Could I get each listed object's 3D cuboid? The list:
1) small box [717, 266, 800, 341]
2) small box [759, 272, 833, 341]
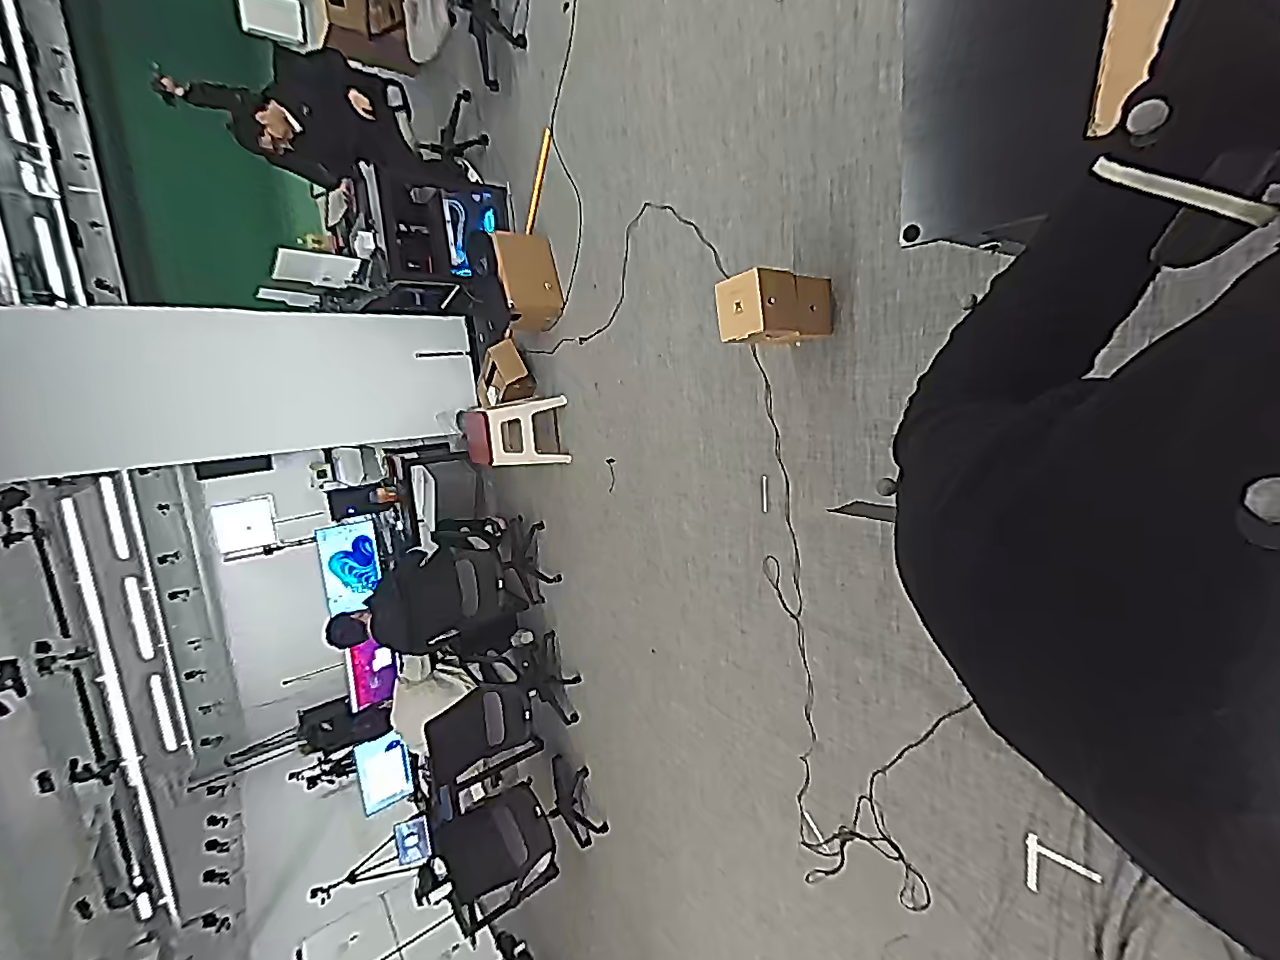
[{"bbox_3d":[0.351,-0.513,1.588,0.168,0.176,0.179,-1,98,53],"label":"small box"},{"bbox_3d":[0.481,-0.533,1.685,0.168,0.176,0.179,4,103,53],"label":"small box"}]
